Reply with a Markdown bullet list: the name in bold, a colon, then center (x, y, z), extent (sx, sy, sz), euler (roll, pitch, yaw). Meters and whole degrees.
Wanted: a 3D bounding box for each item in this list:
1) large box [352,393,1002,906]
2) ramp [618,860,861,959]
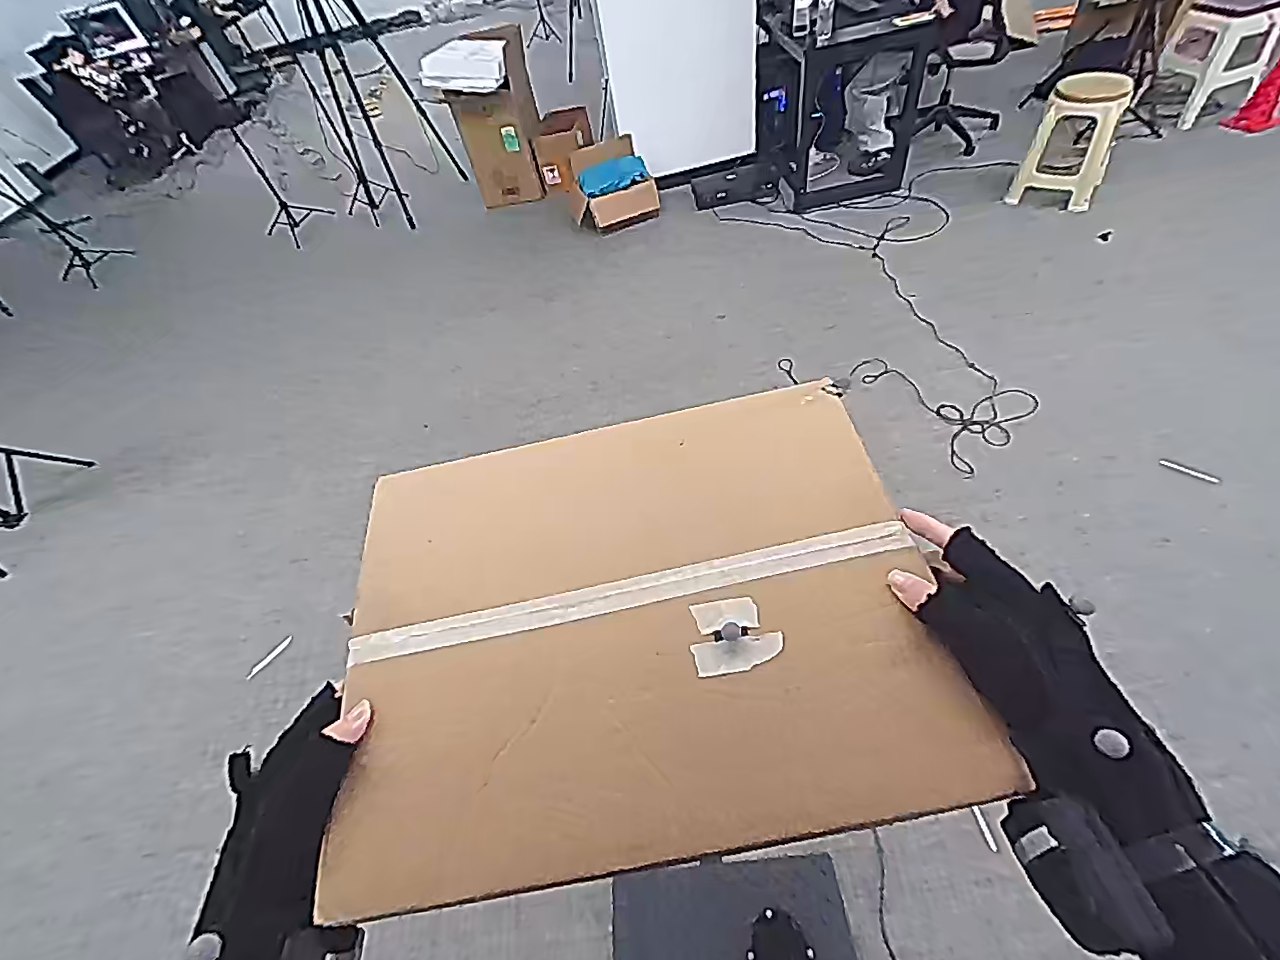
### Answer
- **large box**: center (0.016, 0.169, 0.523), extent (0.408, 0.320, 0.320), euler (-12, 56, 2)
- **ramp**: center (0.206, 1.194, 0.828), extent (0.509, 0.206, 0.991), euler (-12, 49, 5)
